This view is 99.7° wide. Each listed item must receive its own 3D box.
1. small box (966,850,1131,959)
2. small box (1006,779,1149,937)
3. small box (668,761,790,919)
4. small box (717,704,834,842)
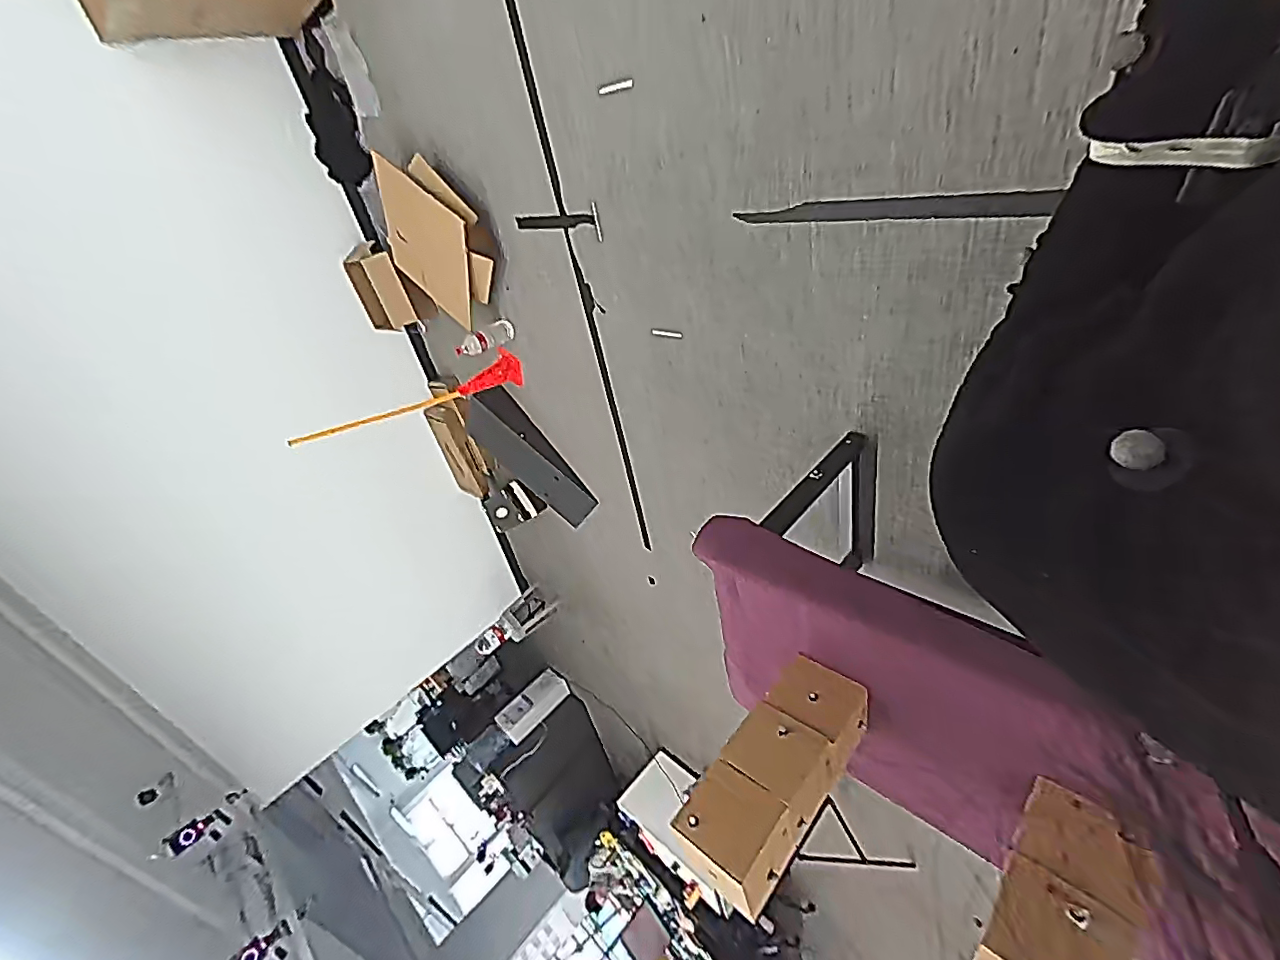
[{"bbox_3d":[0.640,0.746,0.856,0.168,0.176,0.179,20,134,40],"label":"small box"},{"bbox_3d":[0.753,0.673,0.947,0.168,0.176,0.179,21,137,40],"label":"small box"},{"bbox_3d":[0.188,0.712,1.089,0.179,0.176,0.168,16,133,43],"label":"small box"},{"bbox_3d":[0.295,0.621,1.172,0.179,0.176,0.168,16,134,44],"label":"small box"}]
